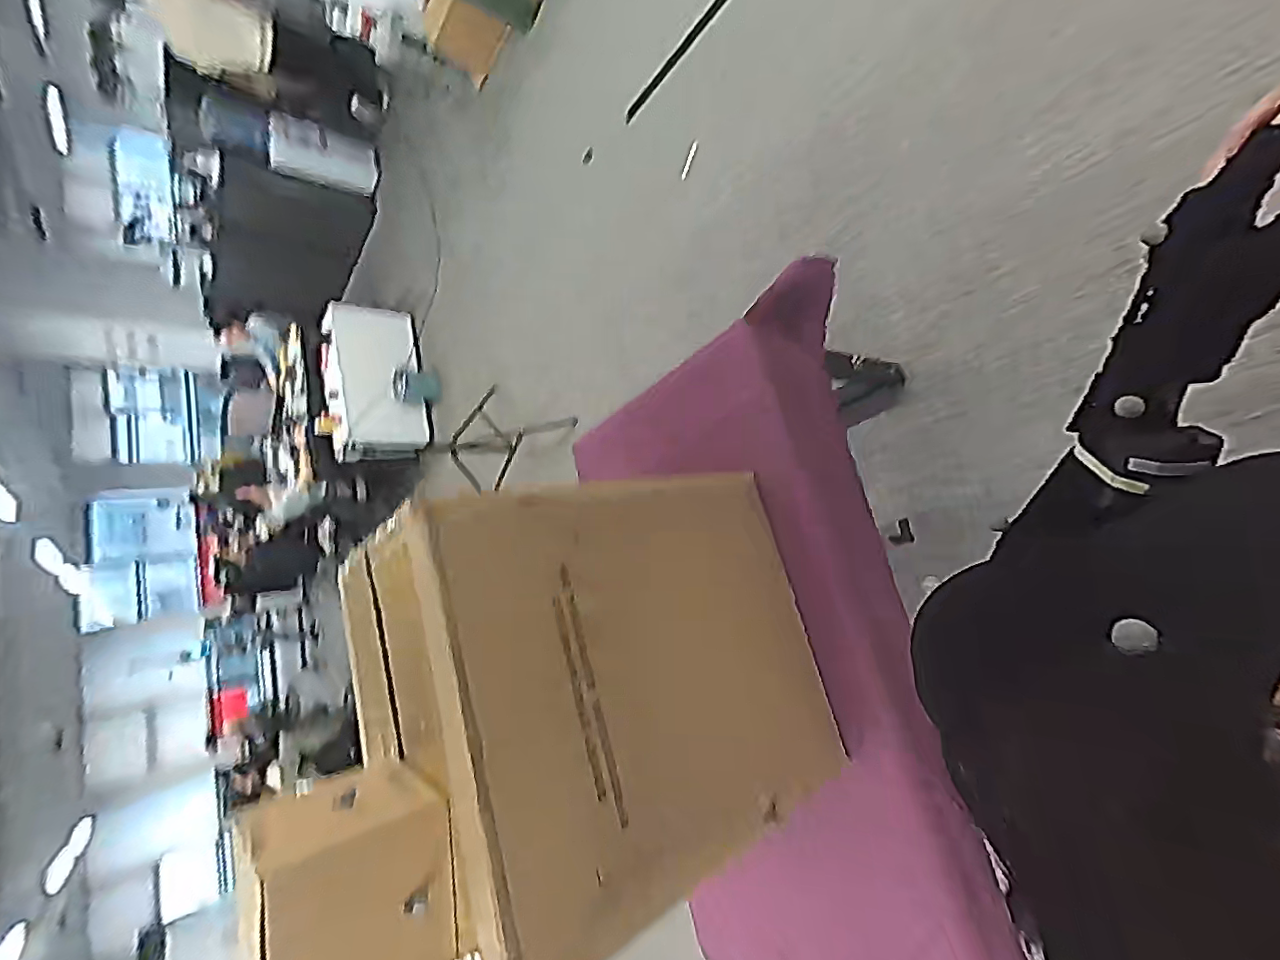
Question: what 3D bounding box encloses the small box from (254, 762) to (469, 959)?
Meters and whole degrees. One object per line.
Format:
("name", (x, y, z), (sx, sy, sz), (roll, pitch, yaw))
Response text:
("small box", (-0.299, 0.436, 0.582), (0.168, 0.176, 0.179), (-9, 85, 48))
